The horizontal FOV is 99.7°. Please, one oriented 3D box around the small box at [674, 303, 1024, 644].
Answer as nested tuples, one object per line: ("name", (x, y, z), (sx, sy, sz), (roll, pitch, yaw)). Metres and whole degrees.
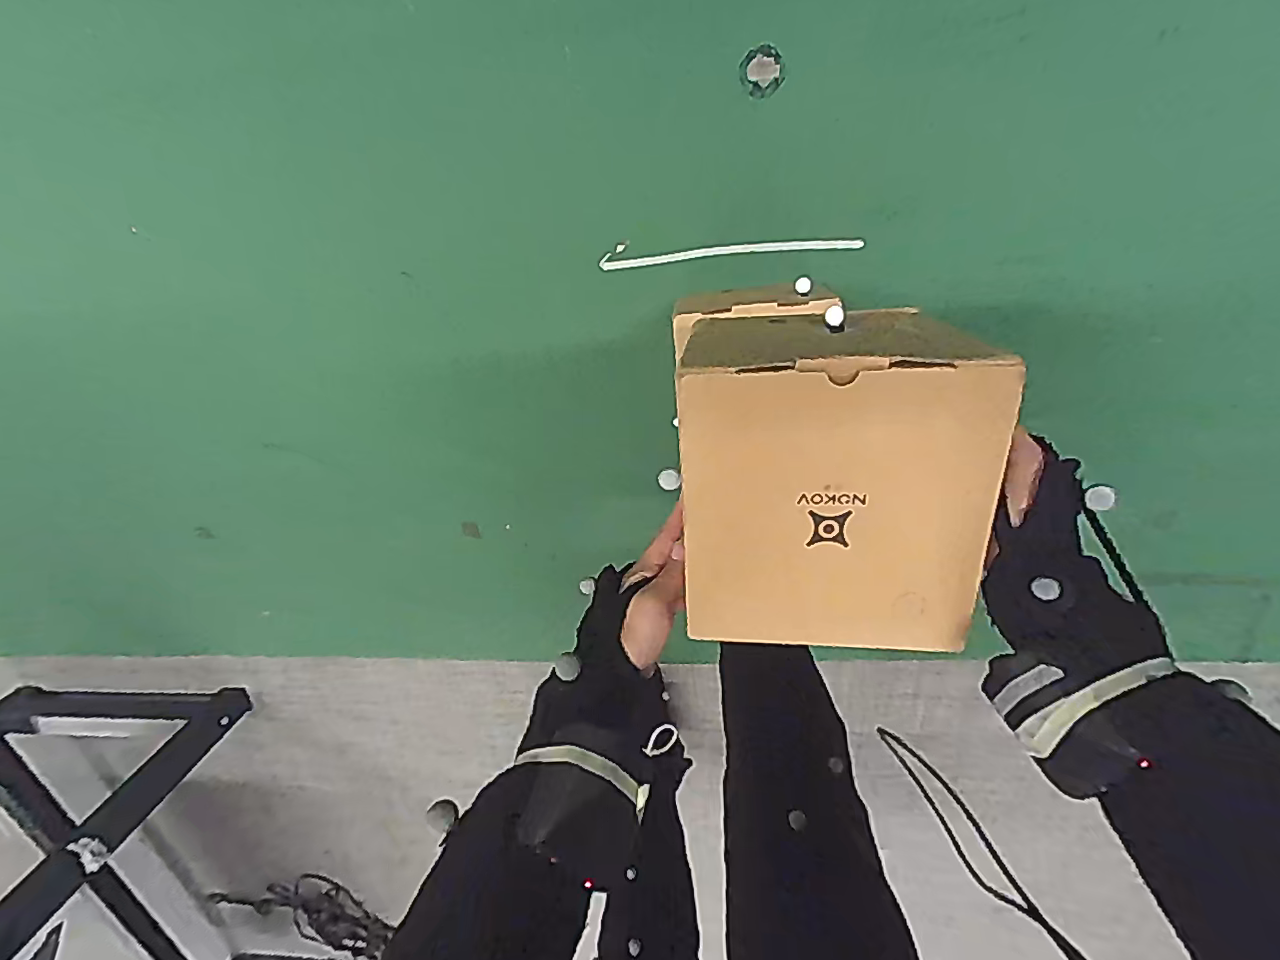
("small box", (0.115, -0.016, 0.367), (0.168, 0.176, 0.179), (-1, 114, 10))
